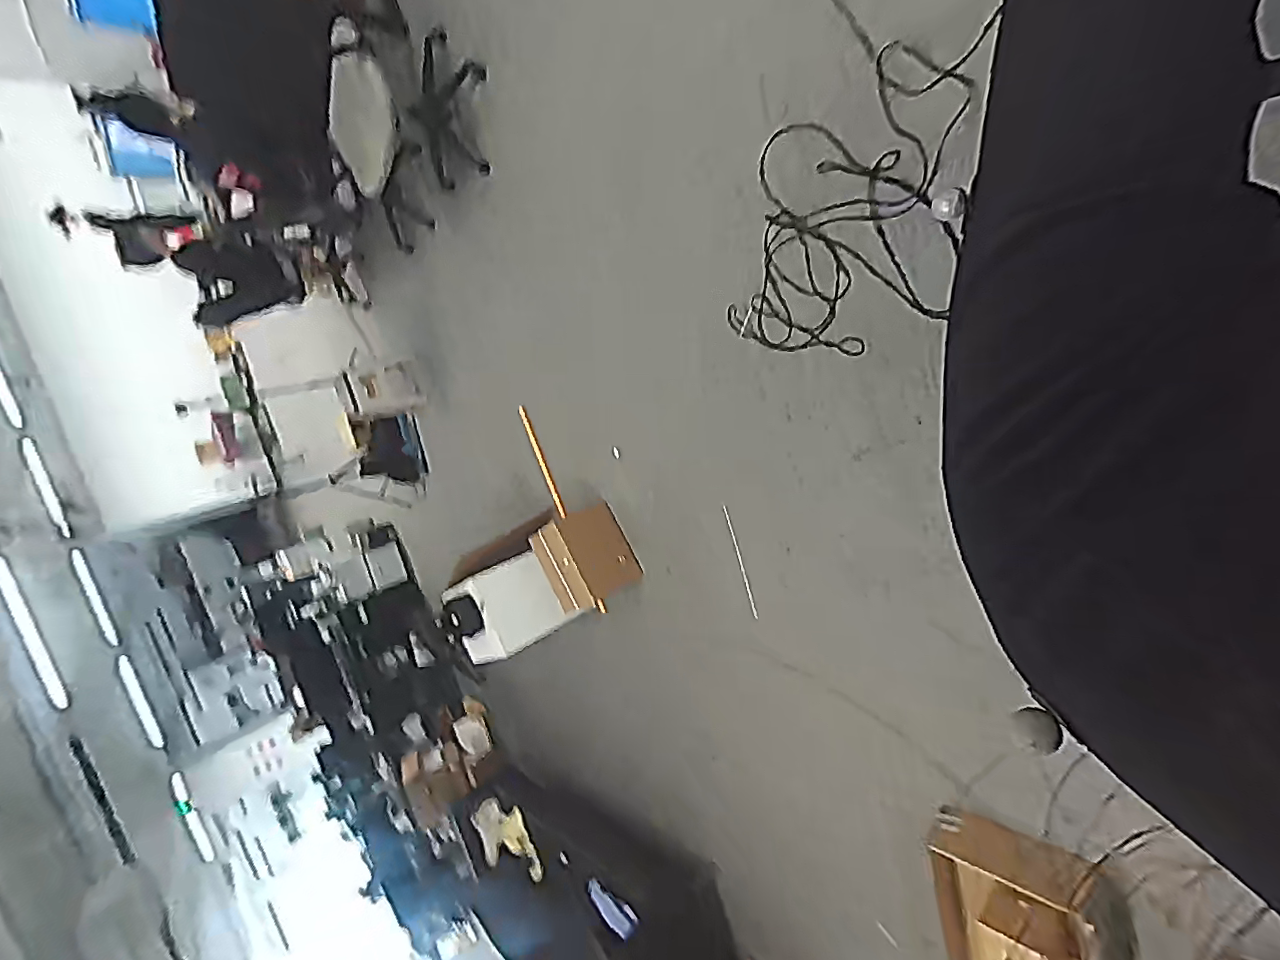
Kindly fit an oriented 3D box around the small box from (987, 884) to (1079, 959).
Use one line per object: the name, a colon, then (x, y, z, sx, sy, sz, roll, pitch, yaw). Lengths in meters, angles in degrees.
small box: (1.105, 1.303, 1.515, 0.168, 0.176, 0.179, -5, 104, 51)
